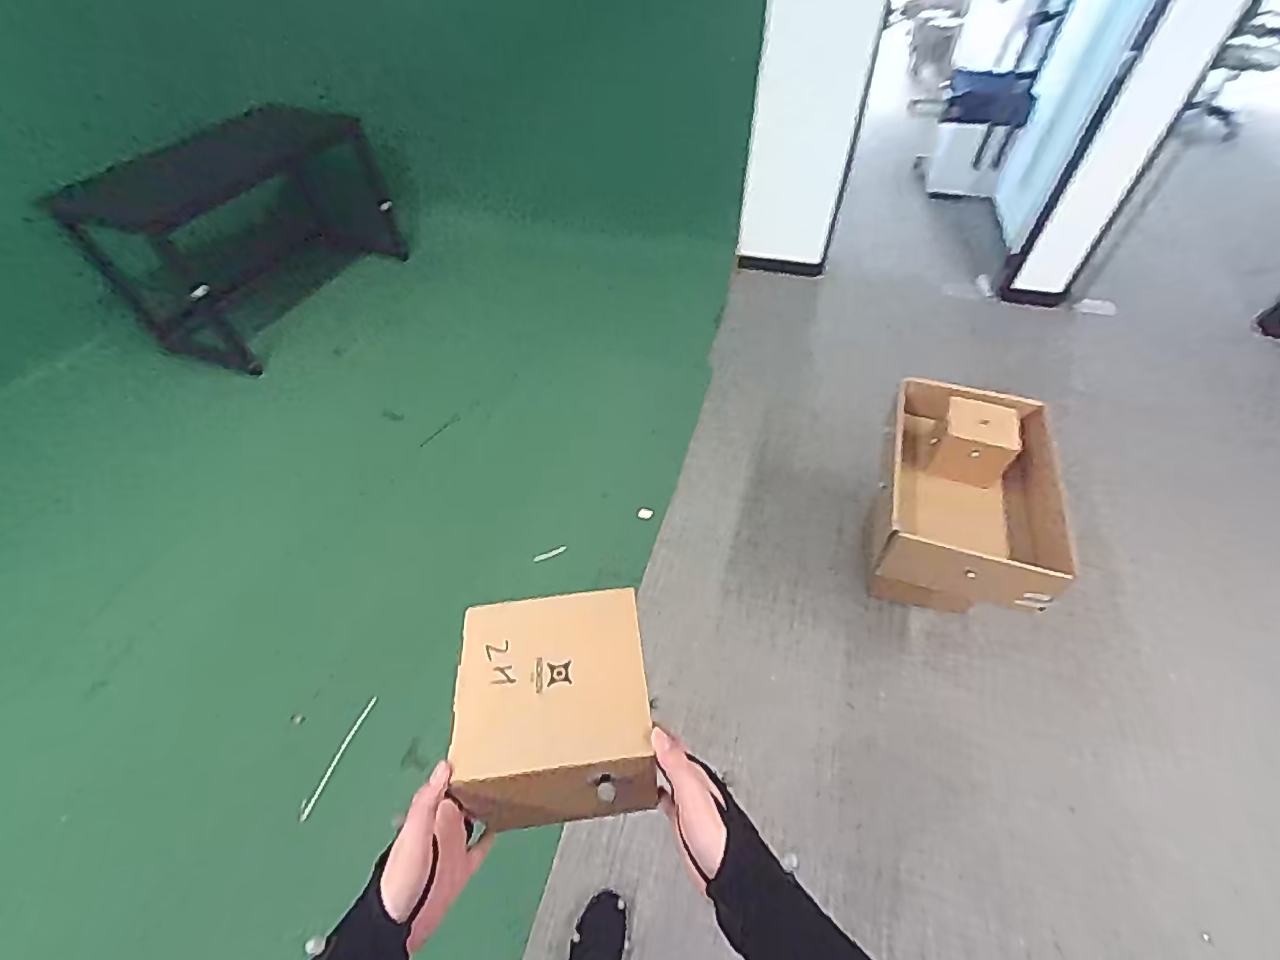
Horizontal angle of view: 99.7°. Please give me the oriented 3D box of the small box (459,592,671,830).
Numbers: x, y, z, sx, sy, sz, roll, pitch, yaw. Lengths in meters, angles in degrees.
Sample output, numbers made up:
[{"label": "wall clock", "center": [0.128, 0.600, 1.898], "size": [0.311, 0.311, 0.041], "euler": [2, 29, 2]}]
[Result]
[{"label": "small box", "center": [-0.068, 0.237, 0.554], "size": [0.179, 0.176, 0.168], "euler": [-6, 45, -4]}]

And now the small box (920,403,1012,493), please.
[{"label": "small box", "center": [0.922, -0.087, 1.543], "size": [0.179, 0.176, 0.168], "euler": [17, 52, 13]}]
